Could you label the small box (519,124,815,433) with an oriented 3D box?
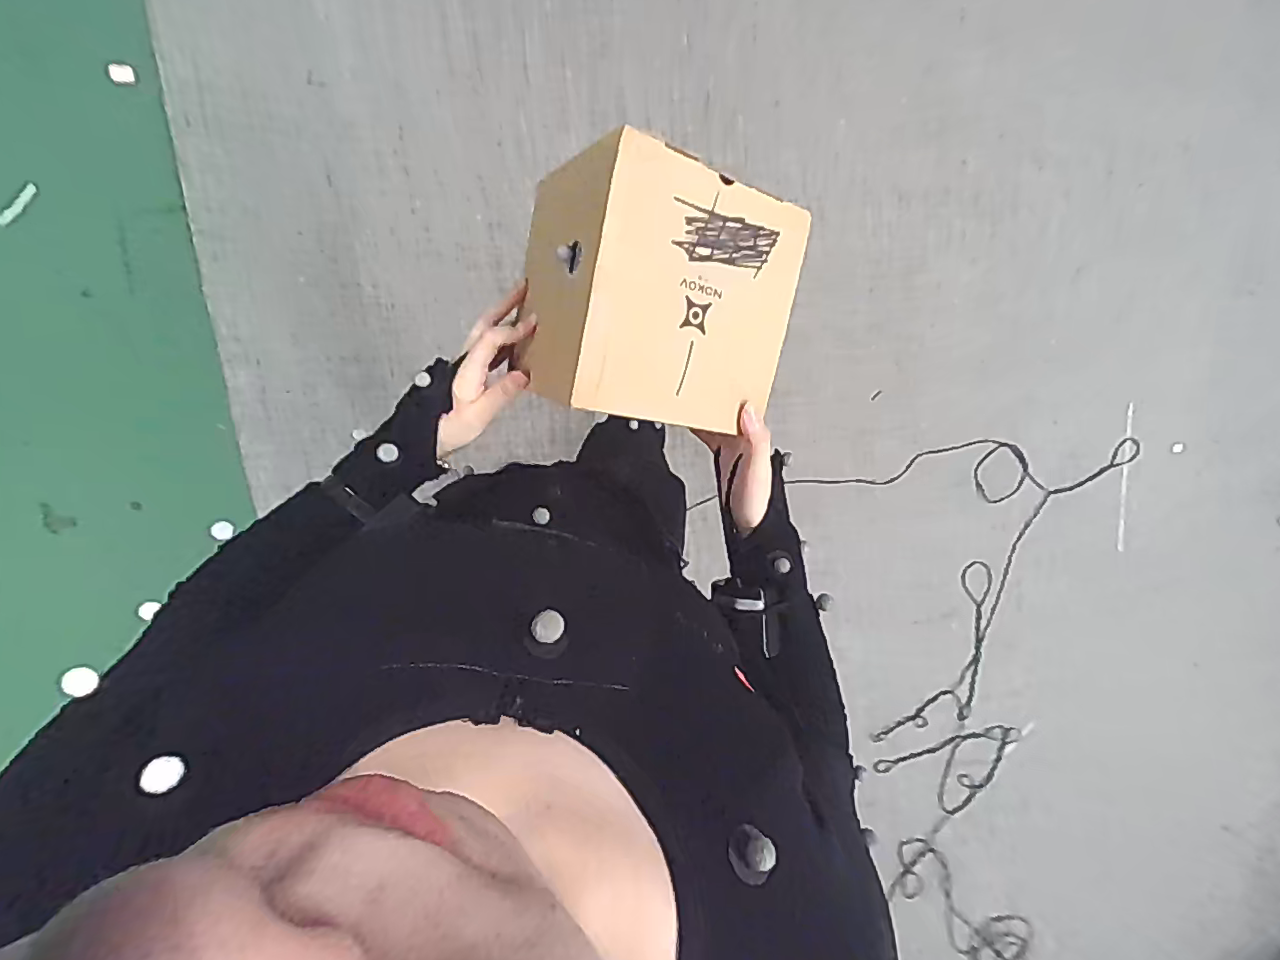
[{"bbox_3d":[0.009,-0.148,0.451,0.168,0.176,0.179,5,102,-31],"label":"small box"}]
